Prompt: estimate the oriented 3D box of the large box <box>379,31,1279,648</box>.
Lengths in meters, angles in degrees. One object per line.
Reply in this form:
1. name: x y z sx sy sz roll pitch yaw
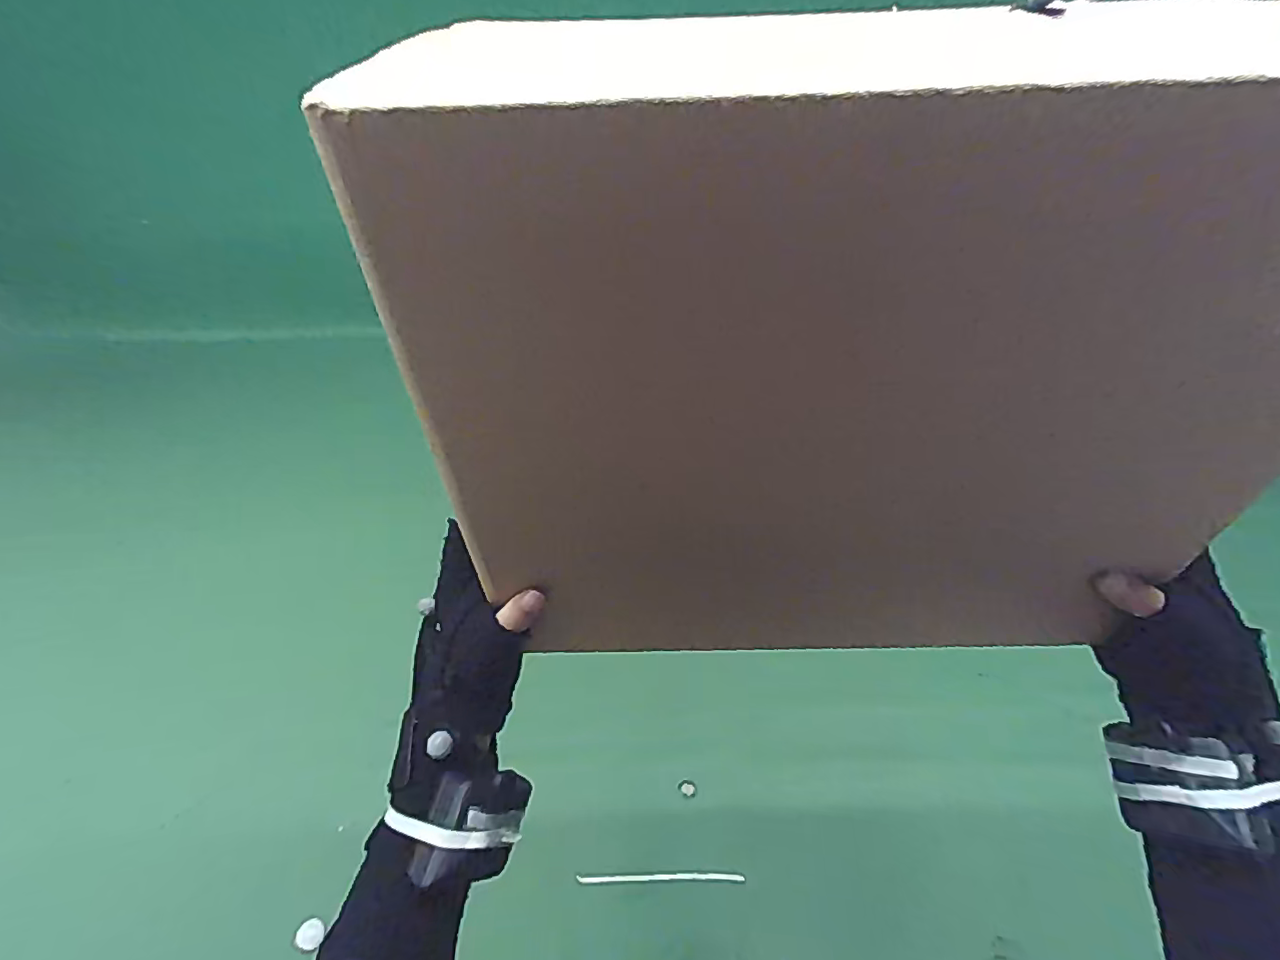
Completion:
1. large box: 0.113 -0.101 0.374 0.408 0.320 0.320 -1 43 0
